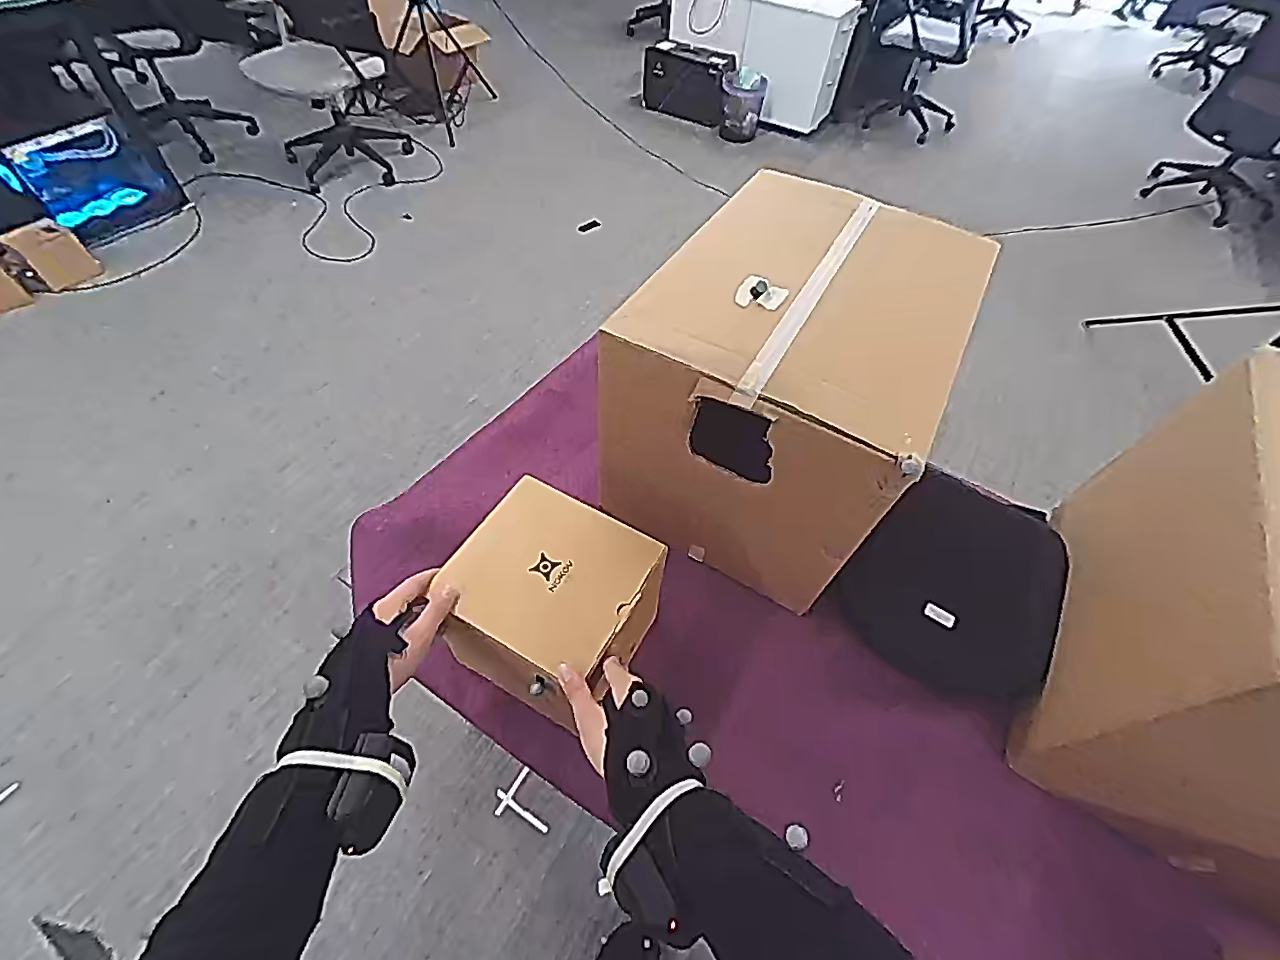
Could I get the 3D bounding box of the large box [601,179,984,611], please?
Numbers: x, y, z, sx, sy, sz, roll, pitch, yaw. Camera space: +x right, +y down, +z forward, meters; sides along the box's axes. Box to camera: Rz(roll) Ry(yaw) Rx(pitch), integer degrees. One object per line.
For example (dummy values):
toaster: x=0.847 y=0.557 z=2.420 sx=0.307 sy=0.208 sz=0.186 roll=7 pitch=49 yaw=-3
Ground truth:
large box: x=0.180 y=-0.114 z=0.706 sx=0.320 sy=0.320 sz=0.408 roll=26 pitch=58 yaw=15
